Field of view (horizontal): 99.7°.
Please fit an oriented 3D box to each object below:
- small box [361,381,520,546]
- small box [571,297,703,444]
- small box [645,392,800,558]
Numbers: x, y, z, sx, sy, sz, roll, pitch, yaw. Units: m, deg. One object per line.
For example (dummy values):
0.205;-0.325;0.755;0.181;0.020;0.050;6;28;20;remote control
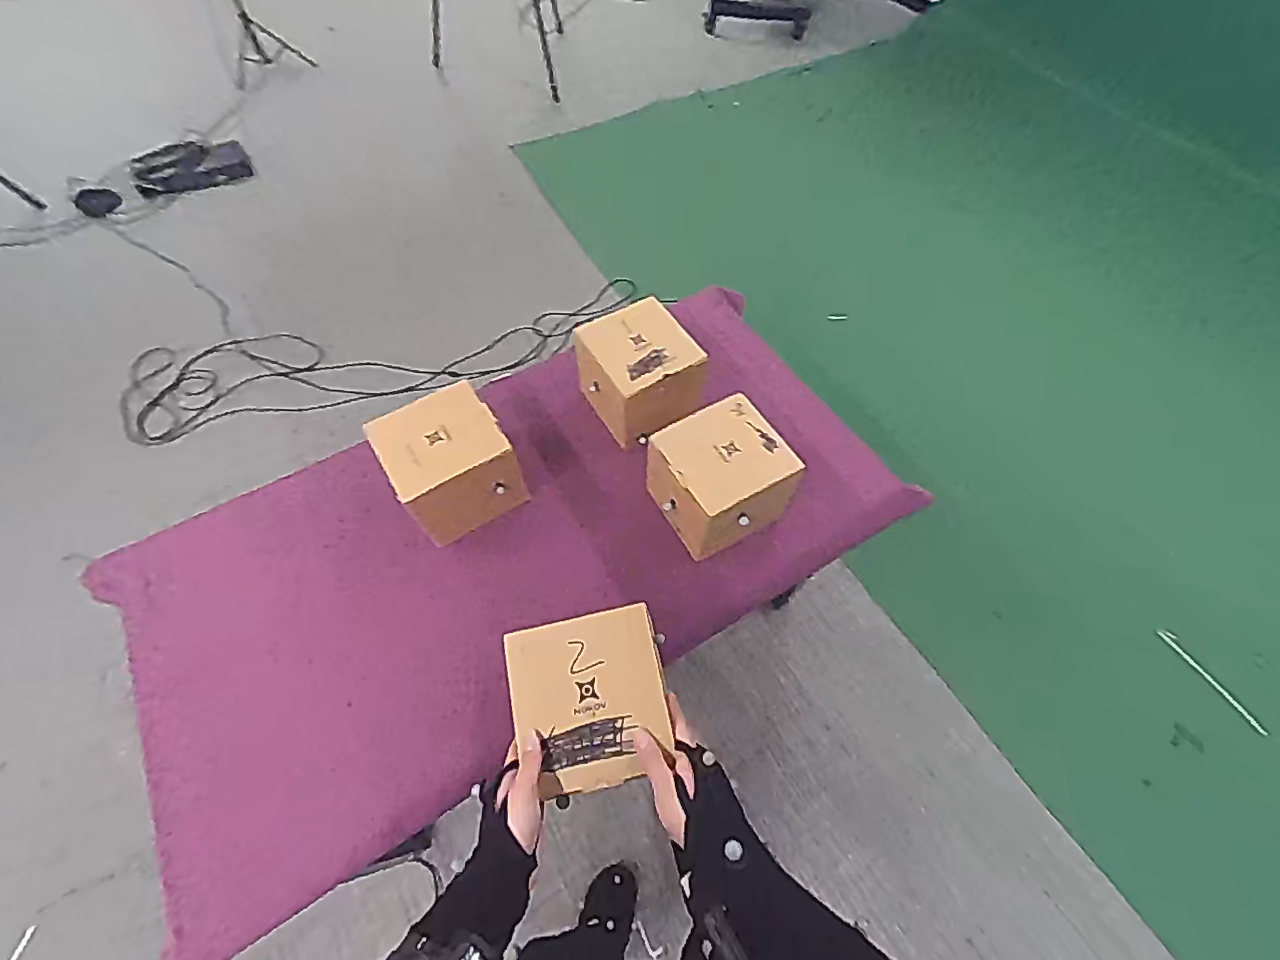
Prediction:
-0.310;-0.022;0.880;0.179;0.176;0.168;-30;64;-16;small box
-0.006;-0.188;0.976;0.168;0.176;0.179;-28;62;-15;small box
0.124;-0.002;0.868;0.179;0.176;0.168;-27;63;-14;small box
